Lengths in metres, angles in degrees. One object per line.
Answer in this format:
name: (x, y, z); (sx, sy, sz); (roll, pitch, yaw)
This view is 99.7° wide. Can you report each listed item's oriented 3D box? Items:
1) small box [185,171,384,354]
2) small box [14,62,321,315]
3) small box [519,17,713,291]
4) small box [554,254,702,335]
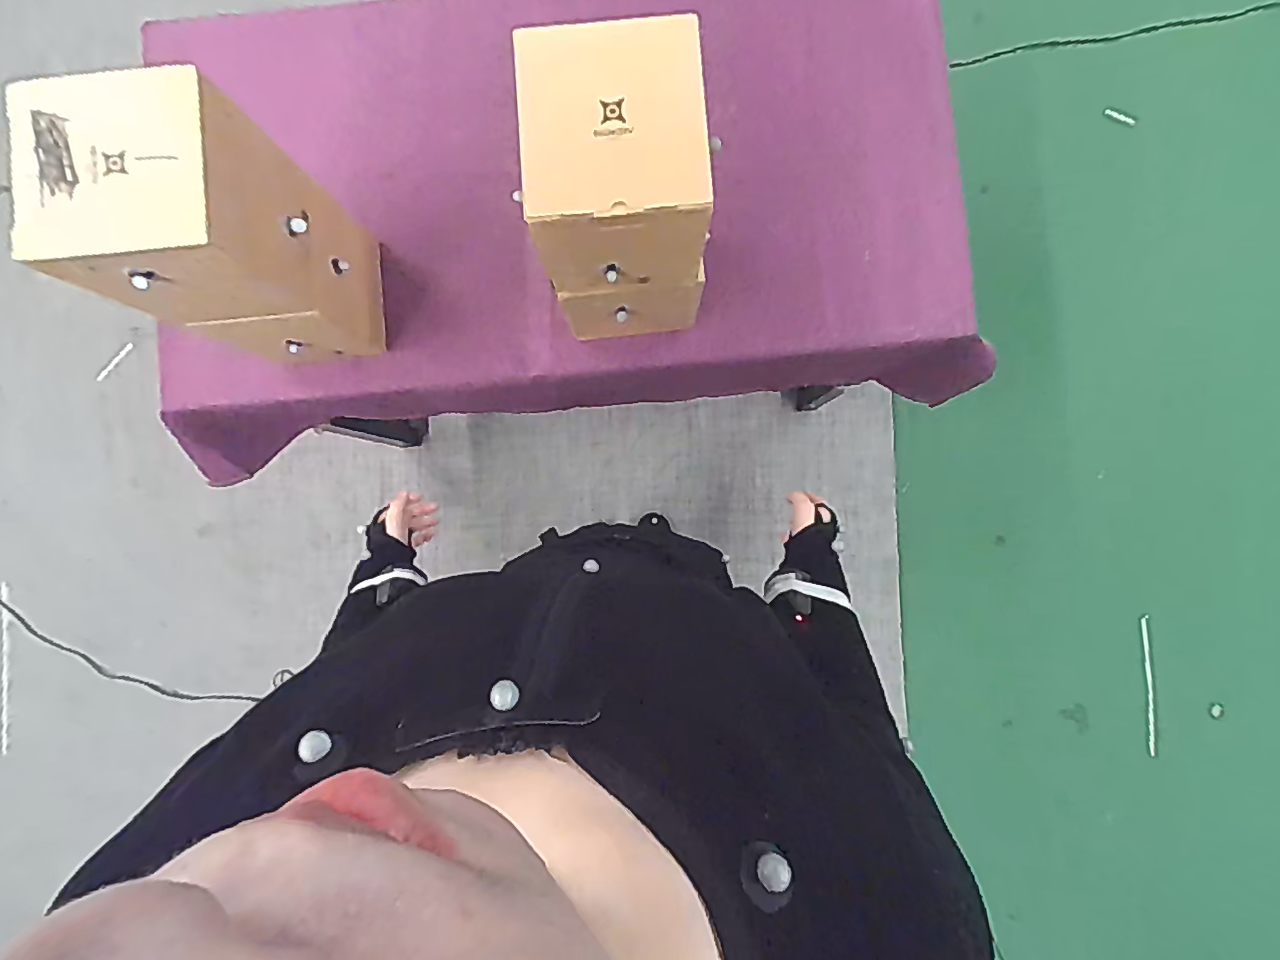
small box: (-0.462, -0.274, 0.722); (0.168, 0.176, 0.179); (-4, 87, 0)
small box: (-0.466, -0.281, 0.558); (0.179, 0.176, 0.168); (-5, 88, 0)
small box: (-0.022, -0.314, 0.552); (0.168, 0.176, 0.179); (-4, 88, 0)
small box: (-0.016, -0.300, 0.715); (0.179, 0.176, 0.168); (-5, 88, 2)
